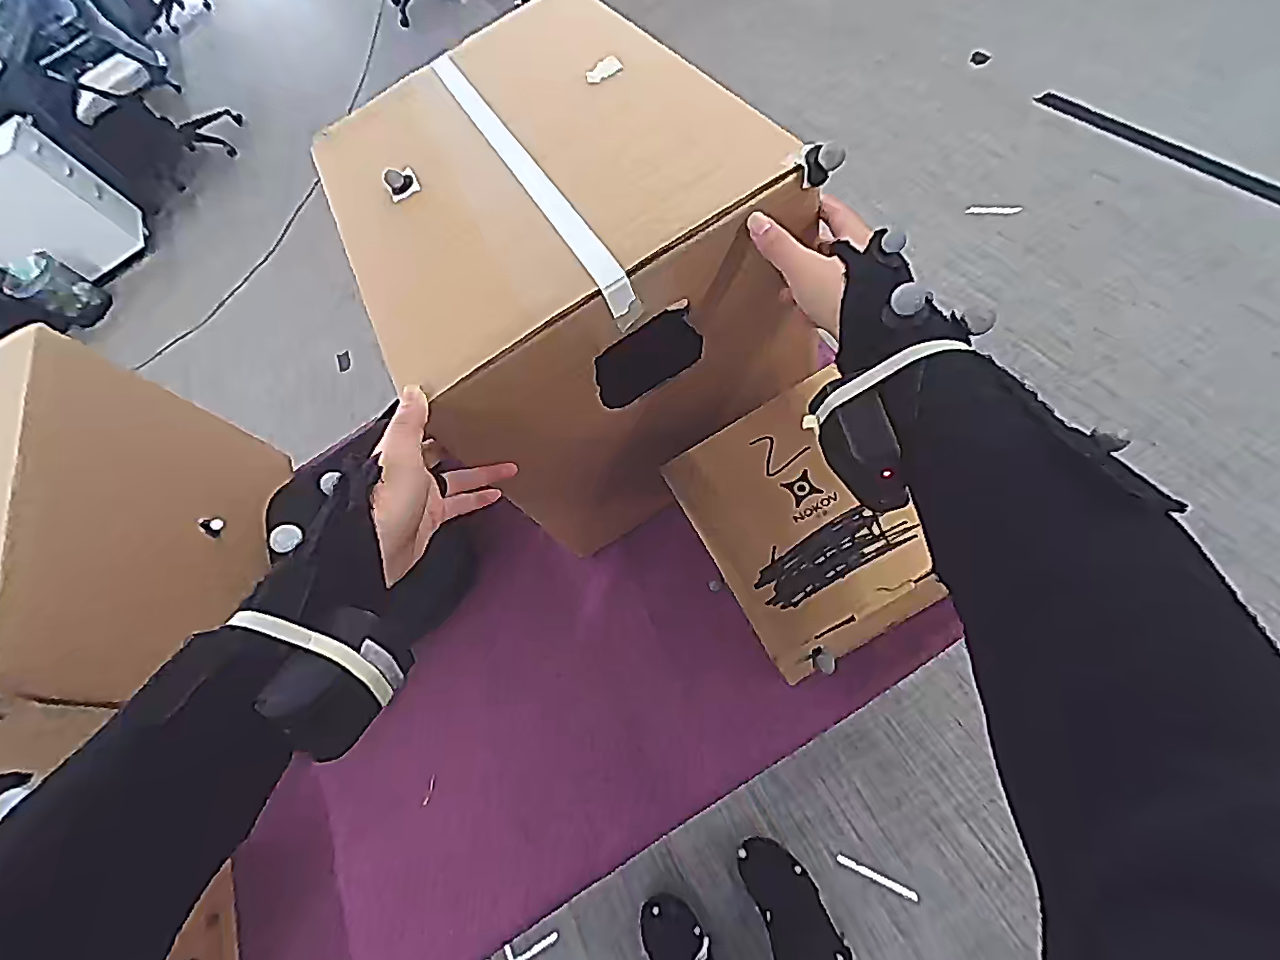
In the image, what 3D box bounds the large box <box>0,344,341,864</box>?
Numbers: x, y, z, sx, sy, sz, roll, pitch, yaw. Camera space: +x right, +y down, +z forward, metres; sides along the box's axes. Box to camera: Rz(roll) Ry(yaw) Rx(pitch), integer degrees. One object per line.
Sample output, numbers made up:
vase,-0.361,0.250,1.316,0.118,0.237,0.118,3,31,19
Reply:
large box,-0.604,0.140,0.598,0.320,0.320,0.408,-32,62,2
